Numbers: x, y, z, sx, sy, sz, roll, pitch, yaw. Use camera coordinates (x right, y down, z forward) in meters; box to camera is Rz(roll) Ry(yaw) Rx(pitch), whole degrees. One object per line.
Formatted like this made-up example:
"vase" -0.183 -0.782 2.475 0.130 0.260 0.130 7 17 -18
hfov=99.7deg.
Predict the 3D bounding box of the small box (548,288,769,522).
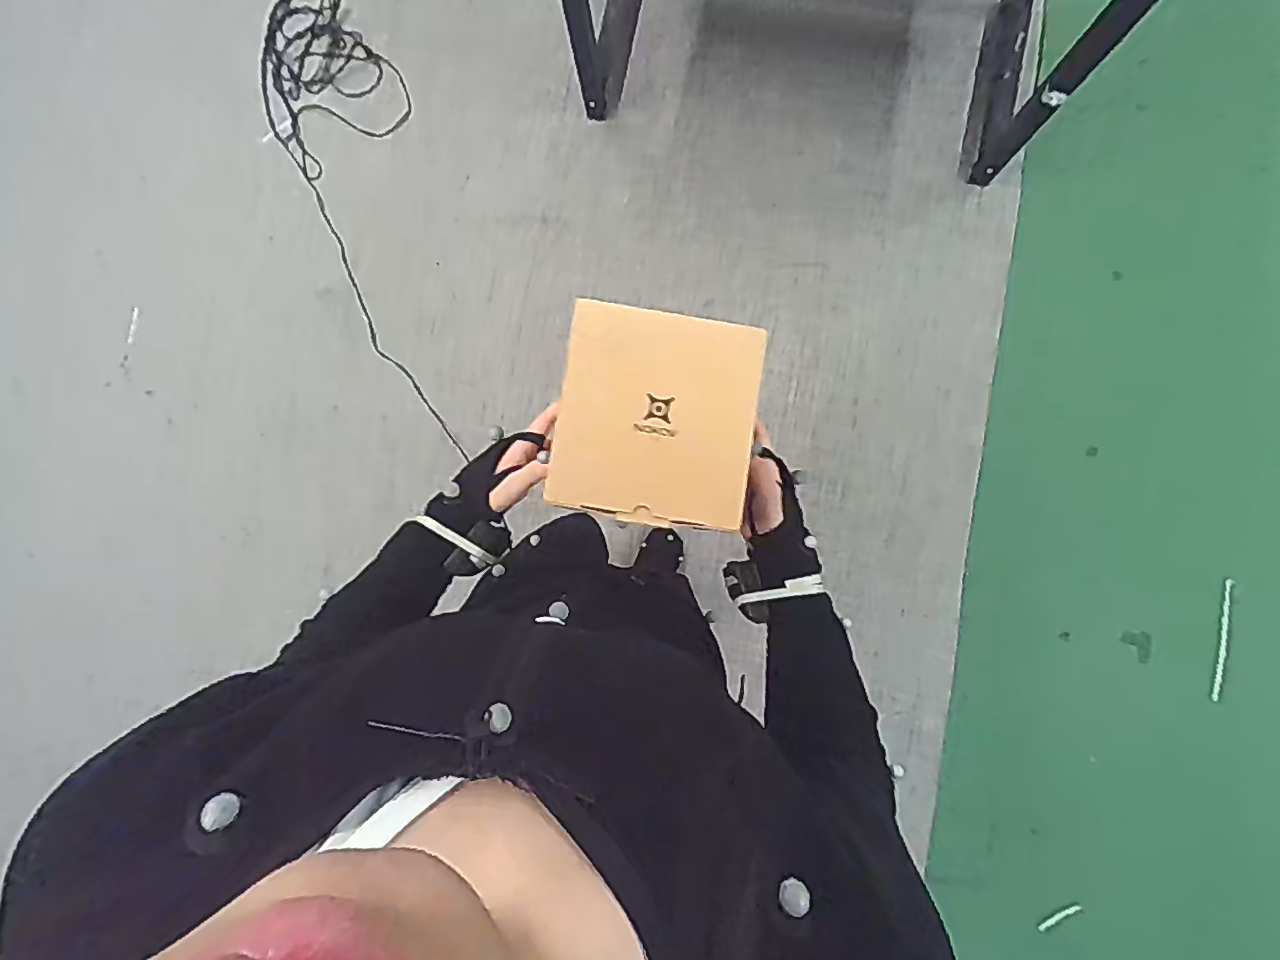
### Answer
"small box" 0.012 -0.057 0.522 0.168 0.176 0.179 8 86 -2
